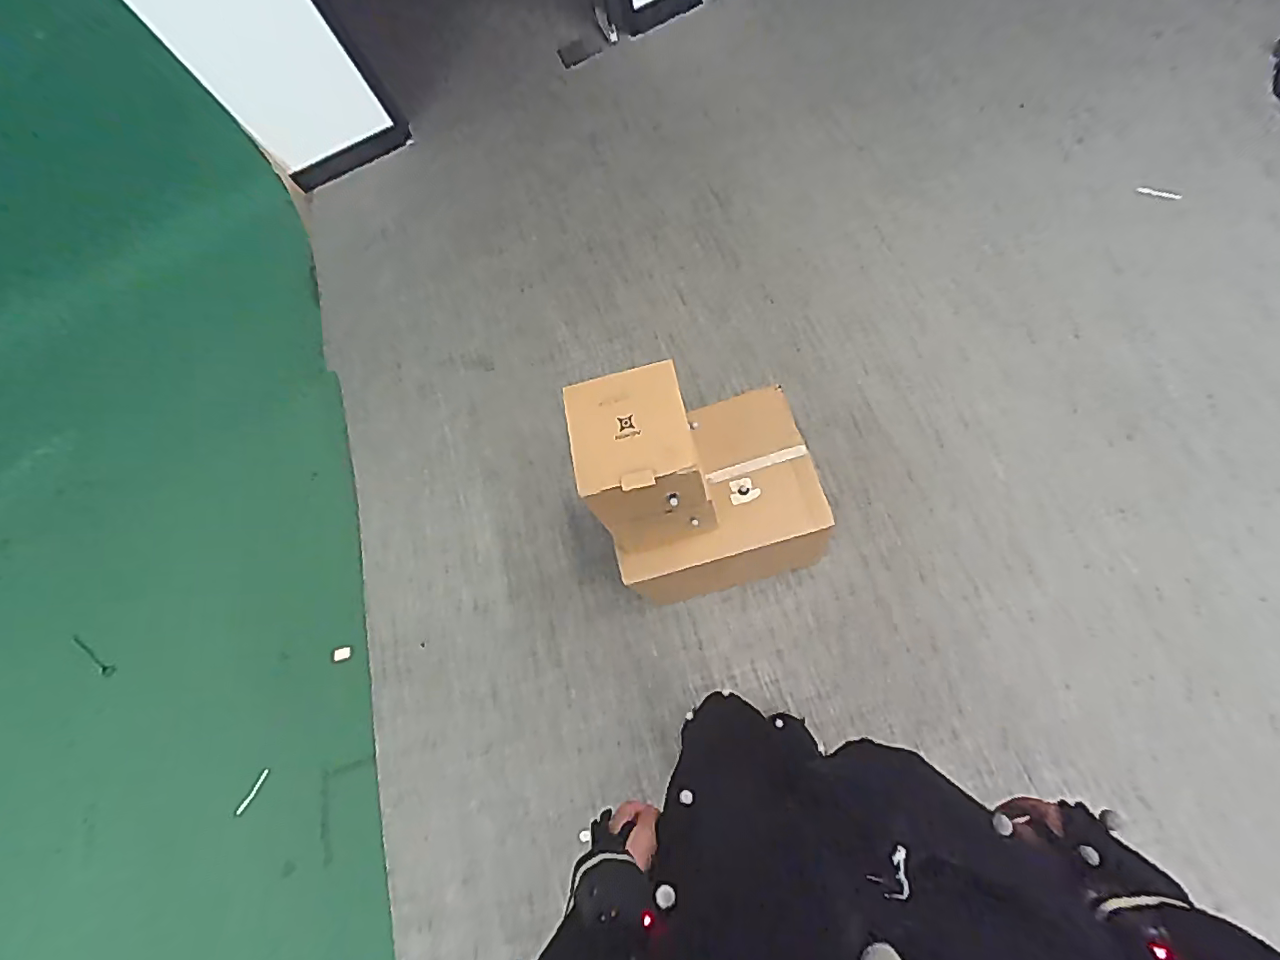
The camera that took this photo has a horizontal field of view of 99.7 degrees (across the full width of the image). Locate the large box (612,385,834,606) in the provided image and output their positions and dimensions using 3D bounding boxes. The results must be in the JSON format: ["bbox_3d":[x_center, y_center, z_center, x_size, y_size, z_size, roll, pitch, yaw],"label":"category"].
[{"bbox_3d":[0.155,0.055,1.183,0.408,0.320,0.320,-17,68,5],"label":"large box"}]

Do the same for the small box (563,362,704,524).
[{"bbox_3d":[-0.004,-0.043,0.811,0.168,0.176,0.179,-14,66,5],"label":"small box"}]
